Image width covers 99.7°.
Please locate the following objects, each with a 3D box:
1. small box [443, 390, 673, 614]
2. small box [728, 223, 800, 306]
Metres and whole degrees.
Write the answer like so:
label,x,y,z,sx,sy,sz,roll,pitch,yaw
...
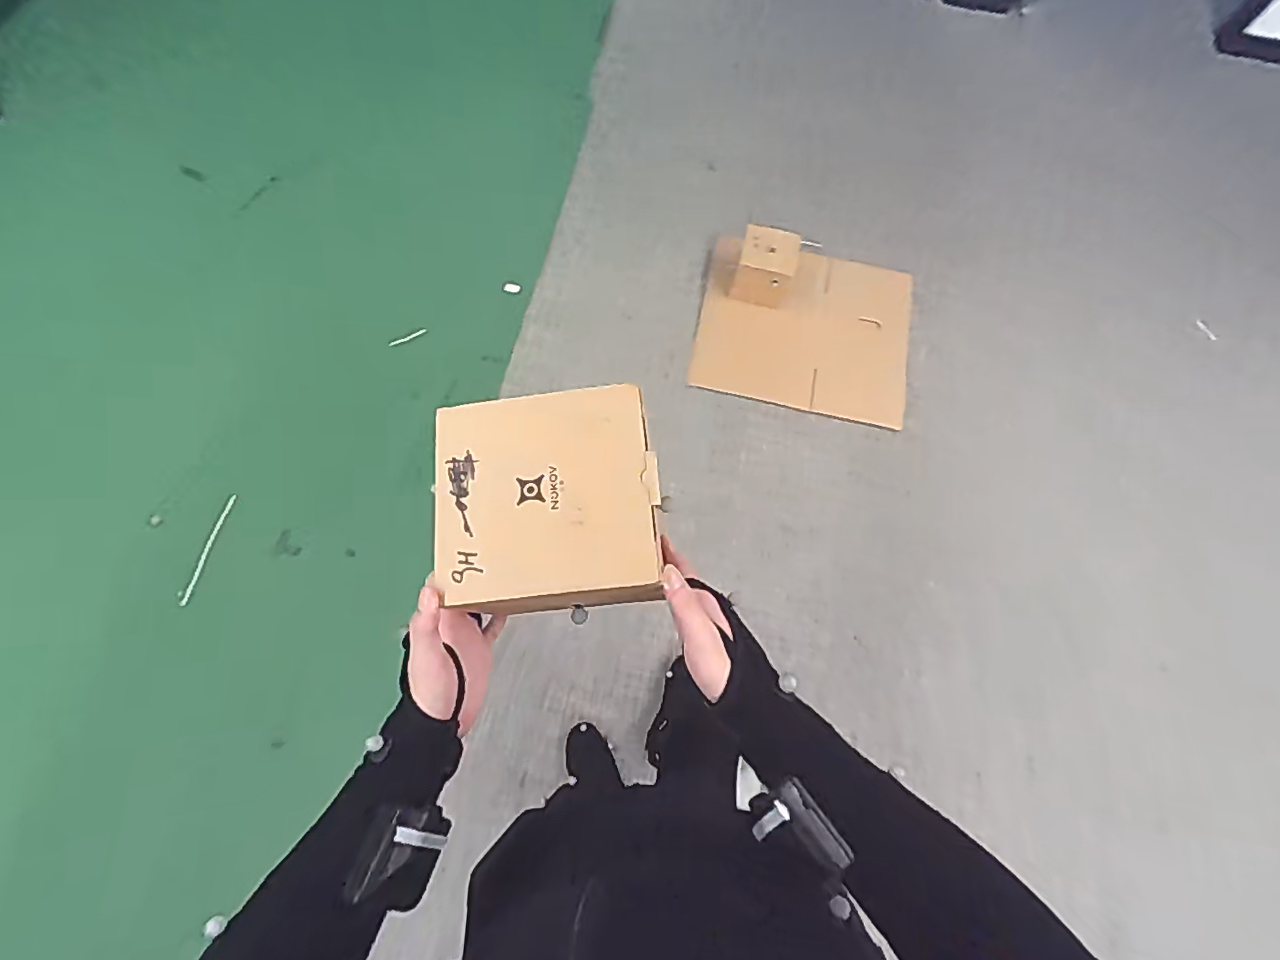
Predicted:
label,x,y,z,sx,sy,sz,roll,pitch,yaw
small box,-0.064,0.032,0.503,0.179,0.176,0.168,-6,73,2
small box,0.398,-0.692,1.750,0.179,0.176,0.168,14,71,2
